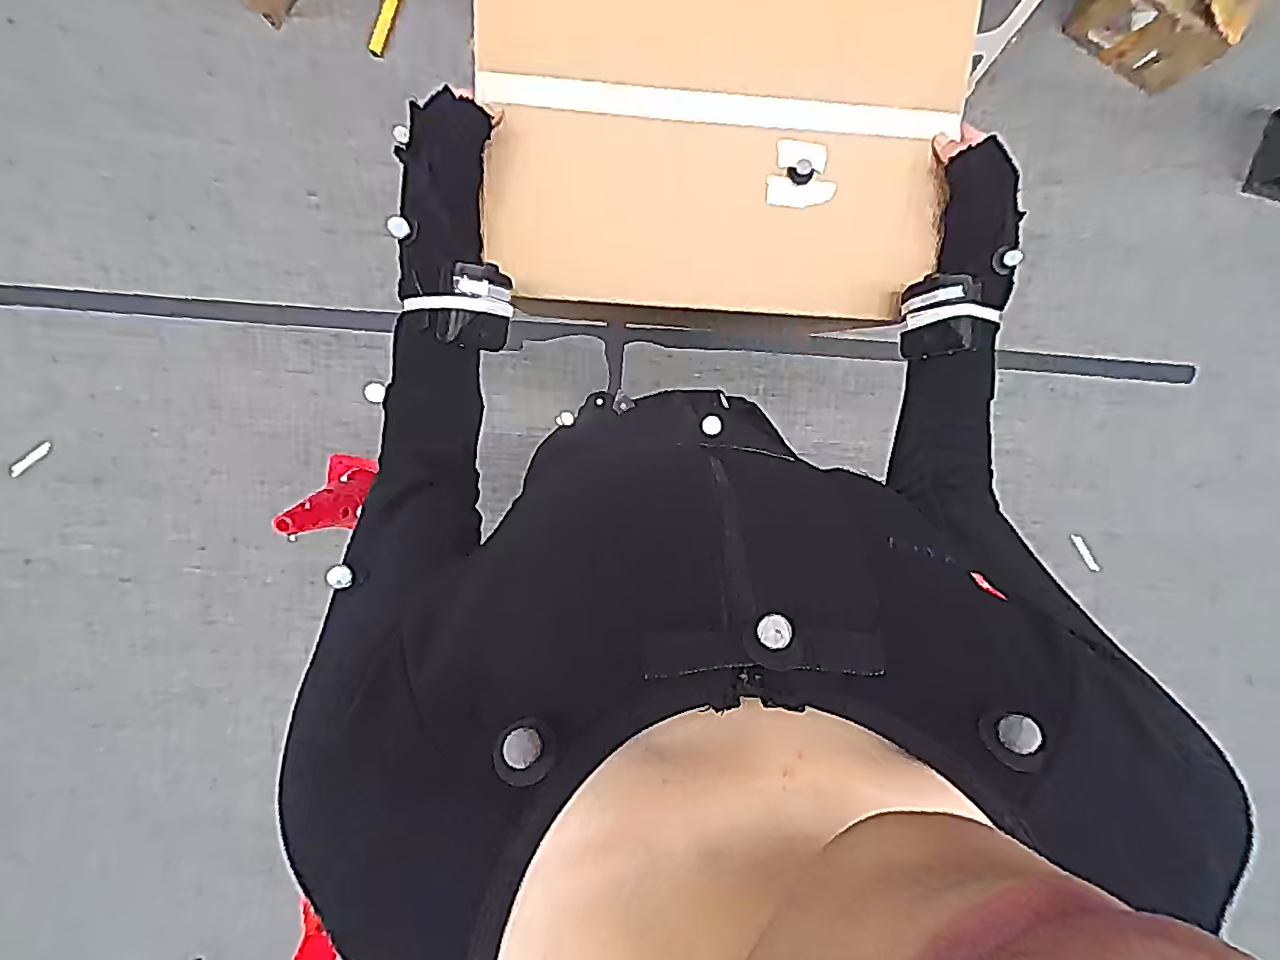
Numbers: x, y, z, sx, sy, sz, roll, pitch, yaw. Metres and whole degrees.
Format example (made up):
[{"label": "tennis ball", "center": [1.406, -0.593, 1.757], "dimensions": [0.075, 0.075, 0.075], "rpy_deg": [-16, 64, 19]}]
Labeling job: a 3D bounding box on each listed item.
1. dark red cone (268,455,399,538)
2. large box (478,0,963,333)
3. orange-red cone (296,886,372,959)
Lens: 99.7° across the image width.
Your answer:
[{"label": "dark red cone", "center": [-0.733, 0.066, 1.262], "dimensions": [0.201, 0.394, 0.202], "rpy_deg": [10, 98, -5]}, {"label": "large box", "center": [0.054, -0.338, 0.600], "dimensions": [0.408, 0.320, 0.320], "rpy_deg": [2, 103, -5]}, {"label": "orange-red cone", "center": [-0.905, 1.340, 1.459], "dimensions": [0.198, 0.360, 0.199], "rpy_deg": [2, 99, -1]}]
